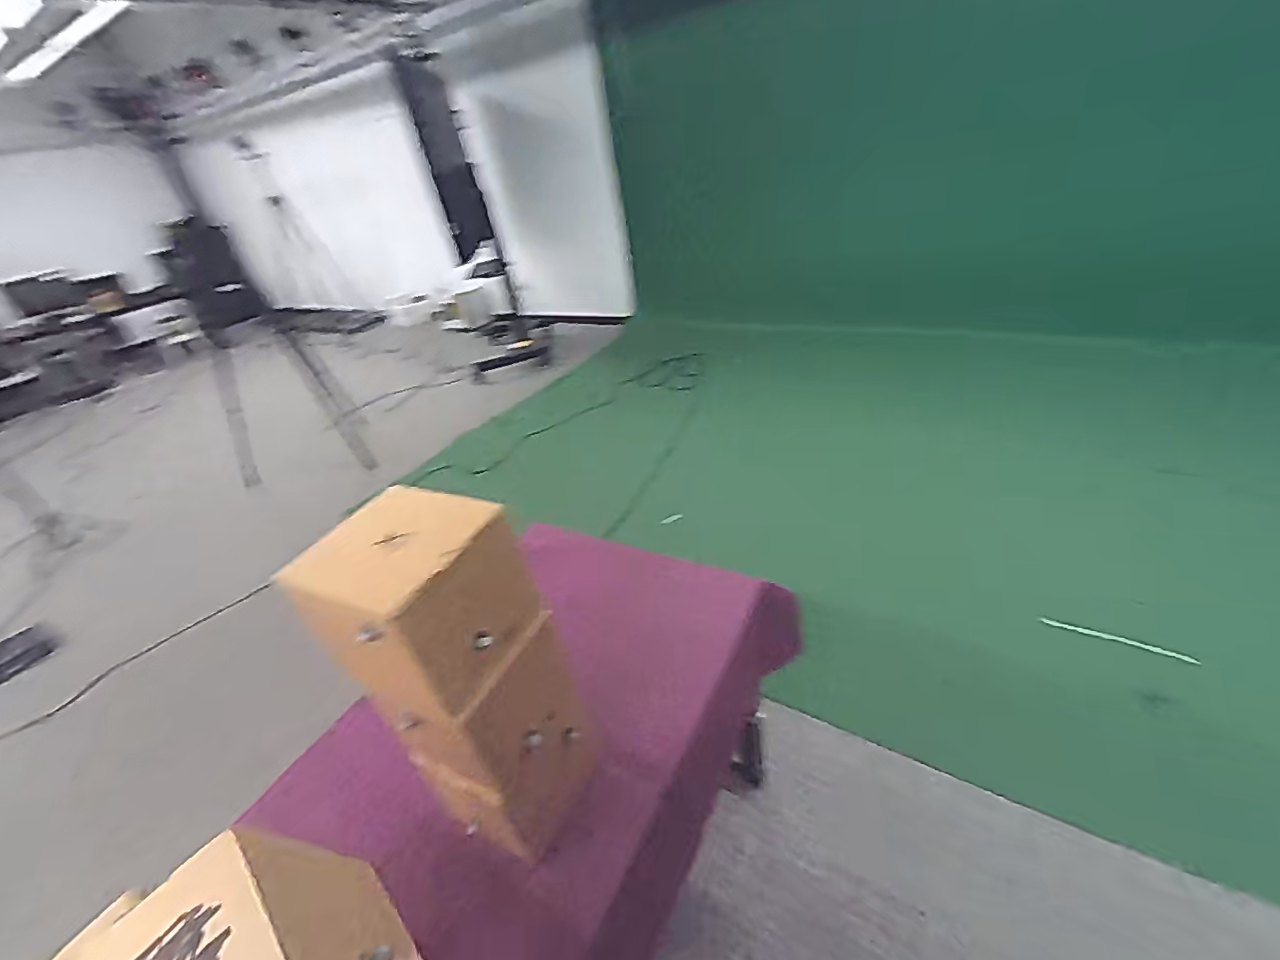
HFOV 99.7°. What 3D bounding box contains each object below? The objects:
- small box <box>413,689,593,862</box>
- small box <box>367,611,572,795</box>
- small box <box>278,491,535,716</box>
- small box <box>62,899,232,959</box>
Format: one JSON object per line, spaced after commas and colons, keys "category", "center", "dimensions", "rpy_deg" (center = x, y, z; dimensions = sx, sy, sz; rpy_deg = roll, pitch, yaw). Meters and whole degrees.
{"category": "small box", "center": [-0.185, 0.402, 0.789], "dimensions": [0.168, 0.176, 0.179], "rpy_deg": [9, 38, 29]}
{"category": "small box", "center": [-0.215, 0.268, 0.701], "dimensions": [0.179, 0.176, 0.168], "rpy_deg": [9, 39, 28]}
{"category": "small box", "center": [-0.249, 0.135, 0.613], "dimensions": [0.179, 0.176, 0.168], "rpy_deg": [8, 38, 25]}
{"category": "small box", "center": [-0.400, 0.488, 0.422], "dimensions": [0.179, 0.176, 0.168], "rpy_deg": [12, 39, 30]}
